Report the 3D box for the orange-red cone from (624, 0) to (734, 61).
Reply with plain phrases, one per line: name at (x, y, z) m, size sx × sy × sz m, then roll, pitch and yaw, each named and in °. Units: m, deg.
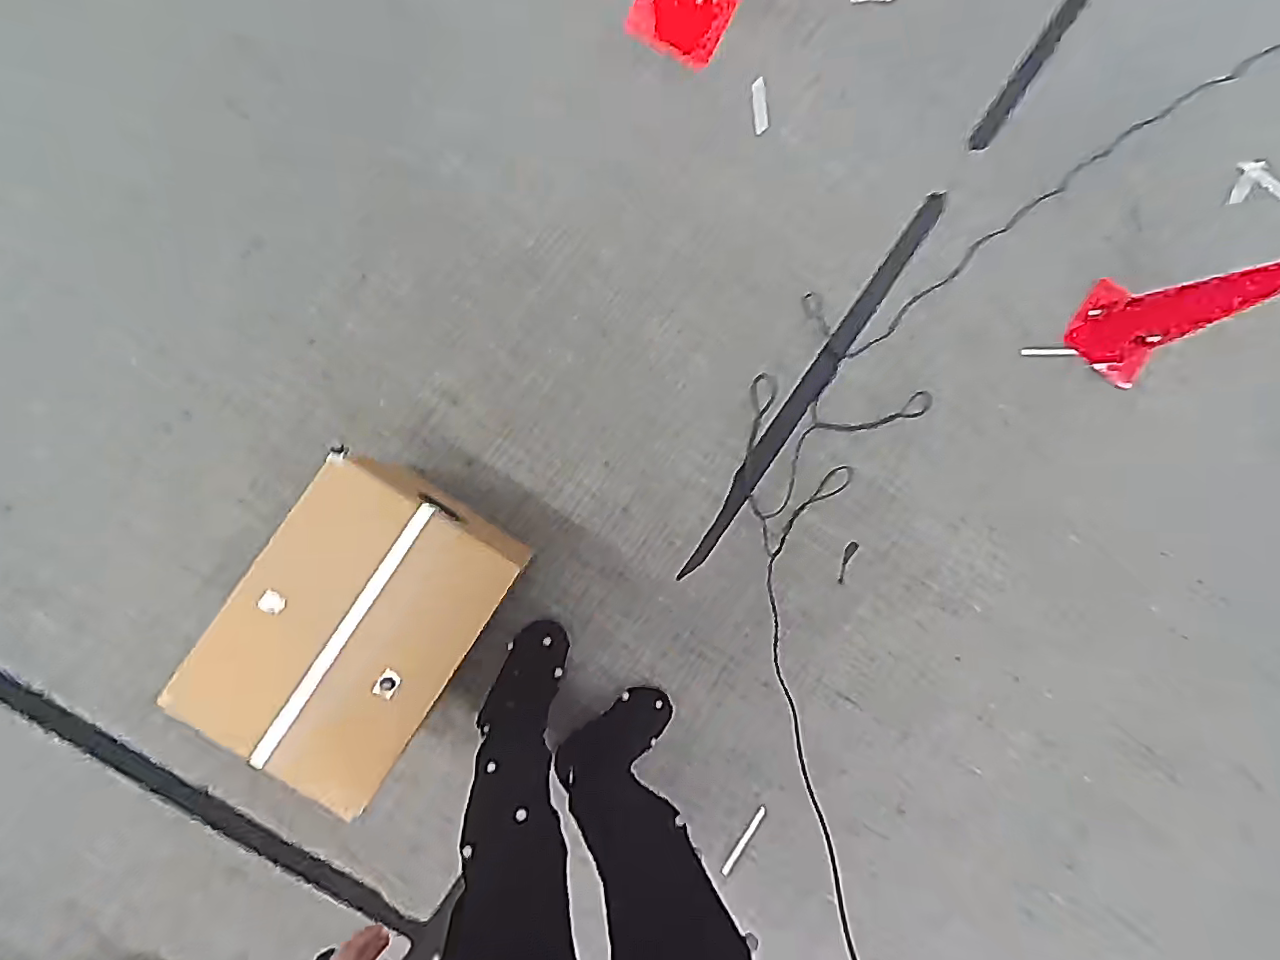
orange-red cone at (0.104, -1.023, 0.986) m, size 0.199 × 0.360 × 0.198 m, roll 26°, pitch 84°, yaw -4°
